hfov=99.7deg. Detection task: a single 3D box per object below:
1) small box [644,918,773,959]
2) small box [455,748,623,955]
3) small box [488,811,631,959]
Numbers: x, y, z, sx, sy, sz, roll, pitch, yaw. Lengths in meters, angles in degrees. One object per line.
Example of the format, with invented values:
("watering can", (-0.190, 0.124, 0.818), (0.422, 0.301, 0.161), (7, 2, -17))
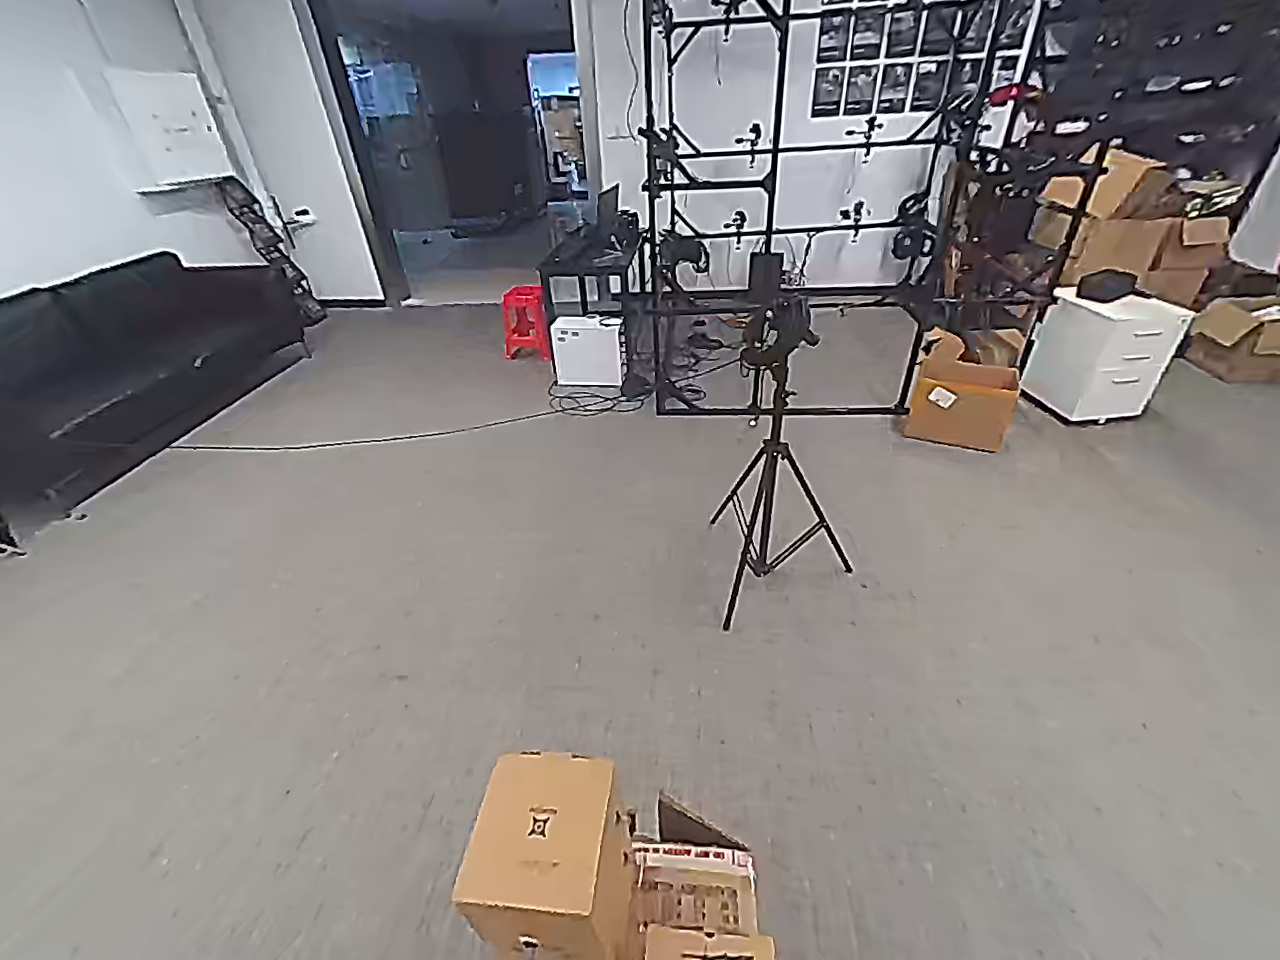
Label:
("small box", (0.082, 0.702, 0.689), (0.168, 0.176, 0.179), (2, 37, 6))
("small box", (-0.118, 0.490, 0.721), (0.168, 0.176, 0.179), (0, 36, 8))
("small box", (-0.108, 0.621, 0.817), (0.168, 0.176, 0.179), (0, 36, 8))
